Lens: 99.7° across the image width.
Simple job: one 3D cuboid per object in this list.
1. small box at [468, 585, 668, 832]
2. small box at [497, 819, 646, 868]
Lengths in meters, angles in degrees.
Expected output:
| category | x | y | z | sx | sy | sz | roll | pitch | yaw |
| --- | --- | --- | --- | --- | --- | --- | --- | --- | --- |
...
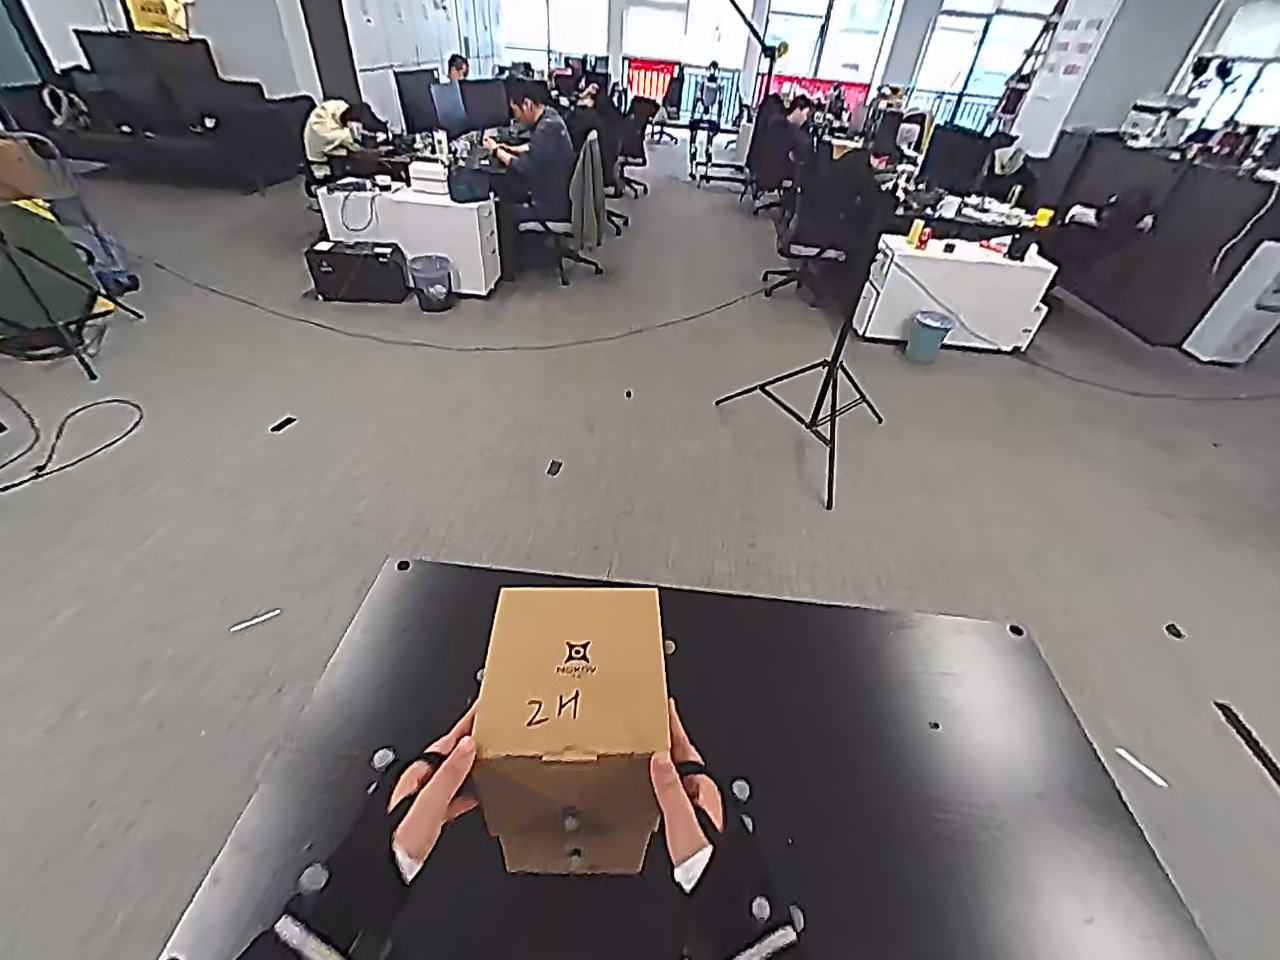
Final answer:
| category | x | y | z | sx | sy | sz | roll | pitch | yaw |
| --- | --- | --- | --- | --- | --- | --- | --- | --- | --- |
| small box | -0.065 | 0.228 | 0.550 | 0.168 | 0.176 | 0.179 | 1 | 38 | -3 |
| small box | -0.075 | 0.370 | 0.686 | 0.168 | 0.176 | 0.179 | 2 | 39 | -3 |
